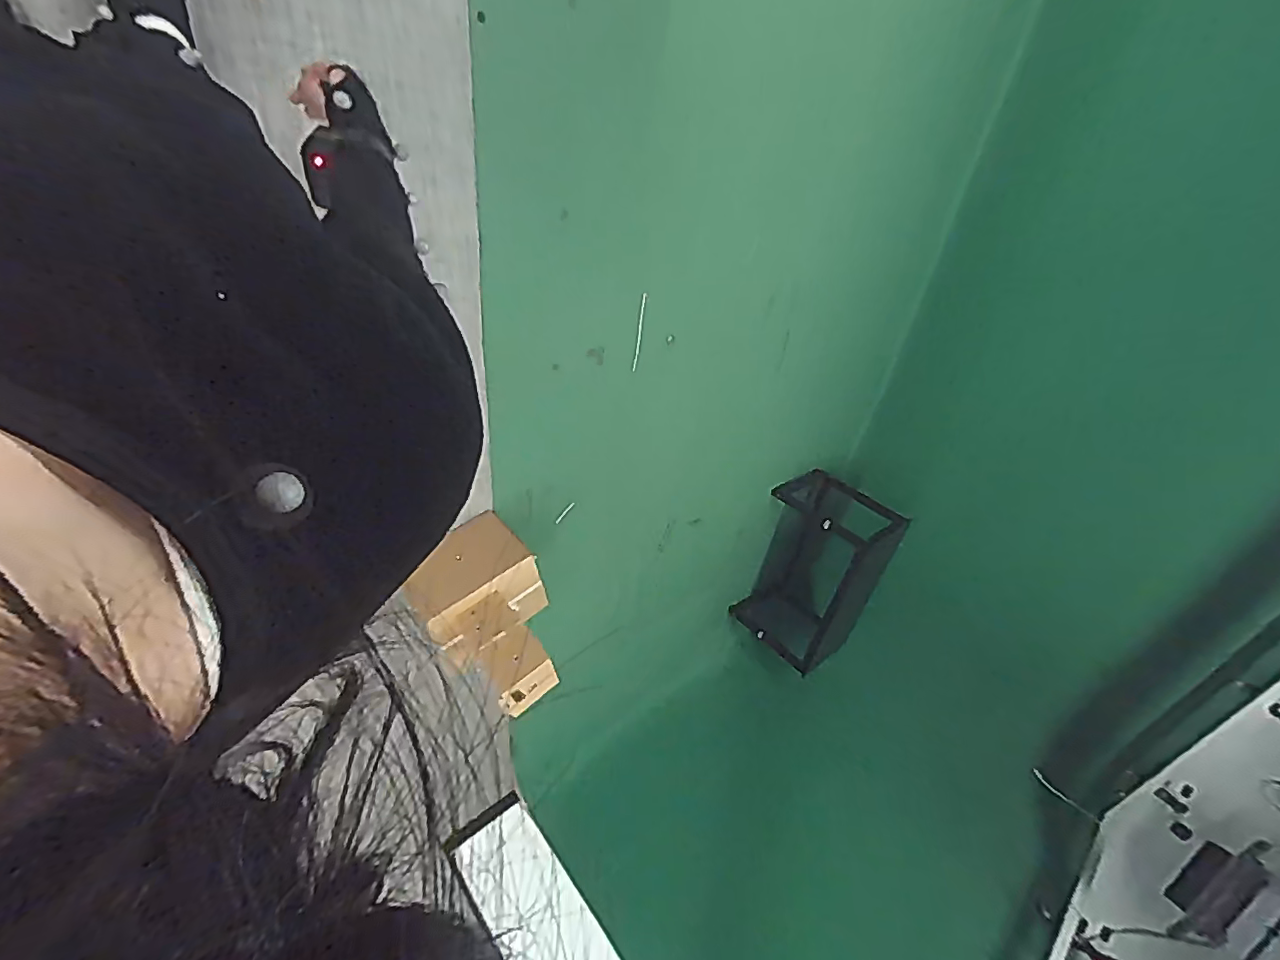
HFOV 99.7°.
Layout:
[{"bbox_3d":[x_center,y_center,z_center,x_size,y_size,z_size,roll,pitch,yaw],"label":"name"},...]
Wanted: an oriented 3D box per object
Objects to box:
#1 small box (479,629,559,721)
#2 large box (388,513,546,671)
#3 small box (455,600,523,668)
[{"bbox_3d":[-0.385,0.610,1.702,0.179,0.176,0.168,-33,140,-26],"label":"small box"},{"bbox_3d":[-0.617,0.397,1.967,0.408,0.320,0.320,-34,141,-27],"label":"large box"},{"bbox_3d":[-0.489,0.527,1.797,0.168,0.176,0.179,-32,139,-26],"label":"small box"}]
